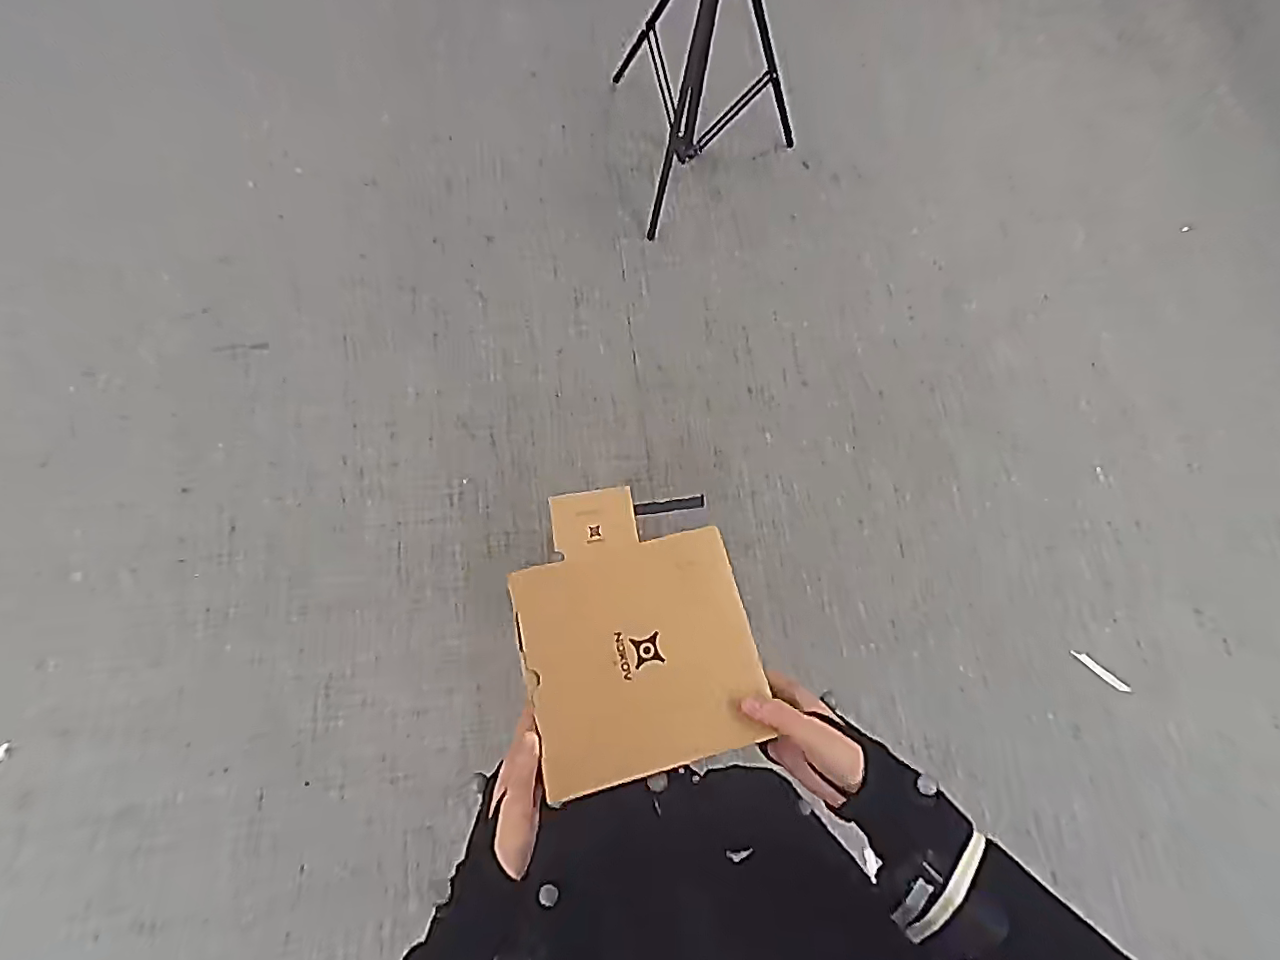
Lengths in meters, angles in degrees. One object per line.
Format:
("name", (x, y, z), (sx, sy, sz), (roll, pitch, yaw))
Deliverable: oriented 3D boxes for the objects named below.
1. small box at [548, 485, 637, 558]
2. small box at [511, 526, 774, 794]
("small box", (-0.094, 0.123, 1.132), (0.168, 0.176, 0.179), (-8, 76, -7))
("small box", (-0.006, 0.155, 0.487), (0.179, 0.176, 0.168), (-12, 71, -7))
